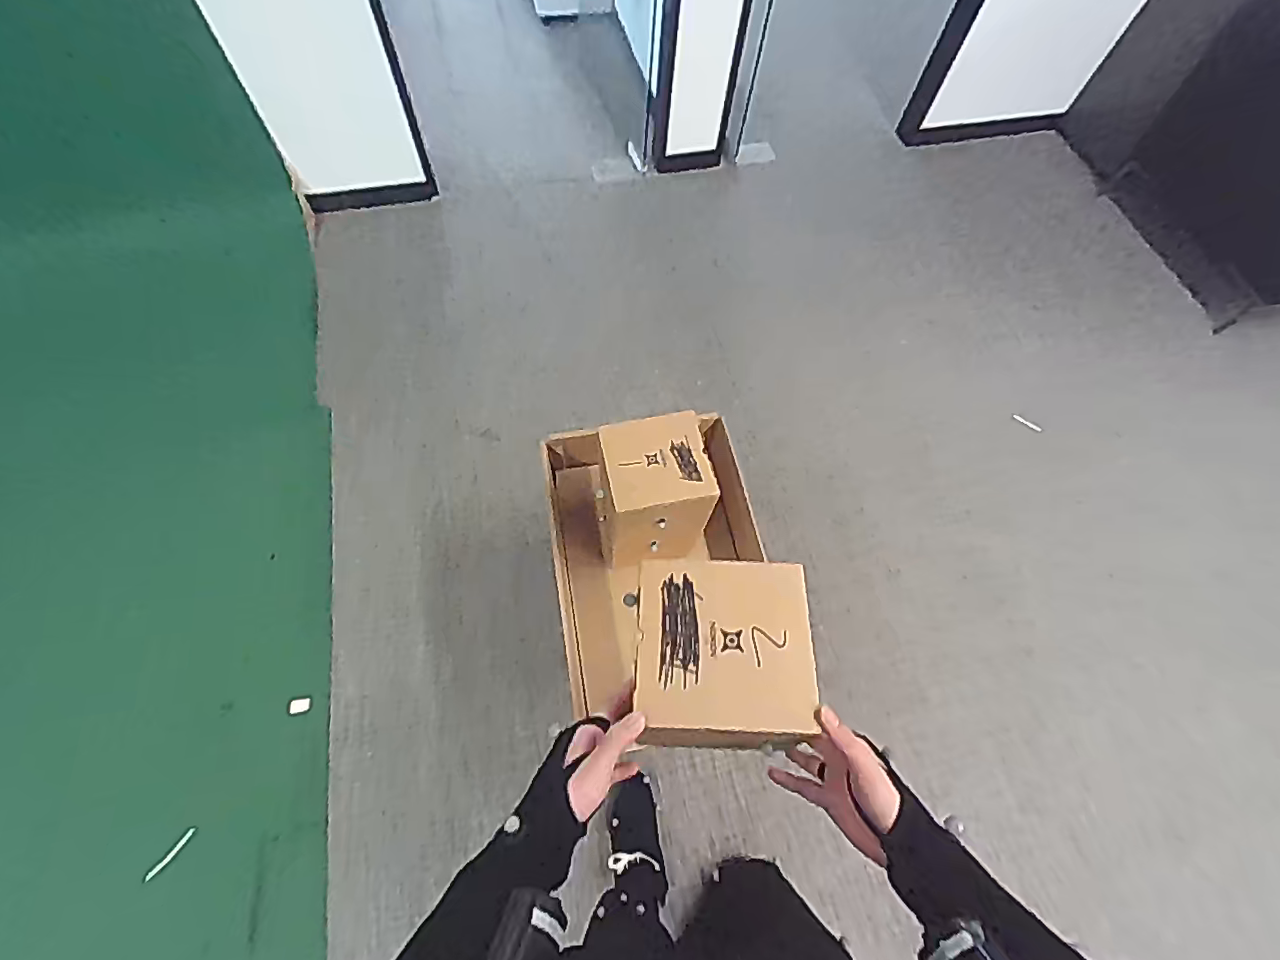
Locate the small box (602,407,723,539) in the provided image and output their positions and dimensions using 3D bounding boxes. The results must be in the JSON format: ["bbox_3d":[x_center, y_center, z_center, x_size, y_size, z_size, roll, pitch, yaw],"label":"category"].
[{"bbox_3d":[0.031,-0.008,0.964,0.179,0.176,0.168,-10,66,-7],"label":"small box"}]

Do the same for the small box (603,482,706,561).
[{"bbox_3d":[0.021,0.058,1.115,0.179,0.176,0.168,-8,66,-7],"label":"small box"}]
